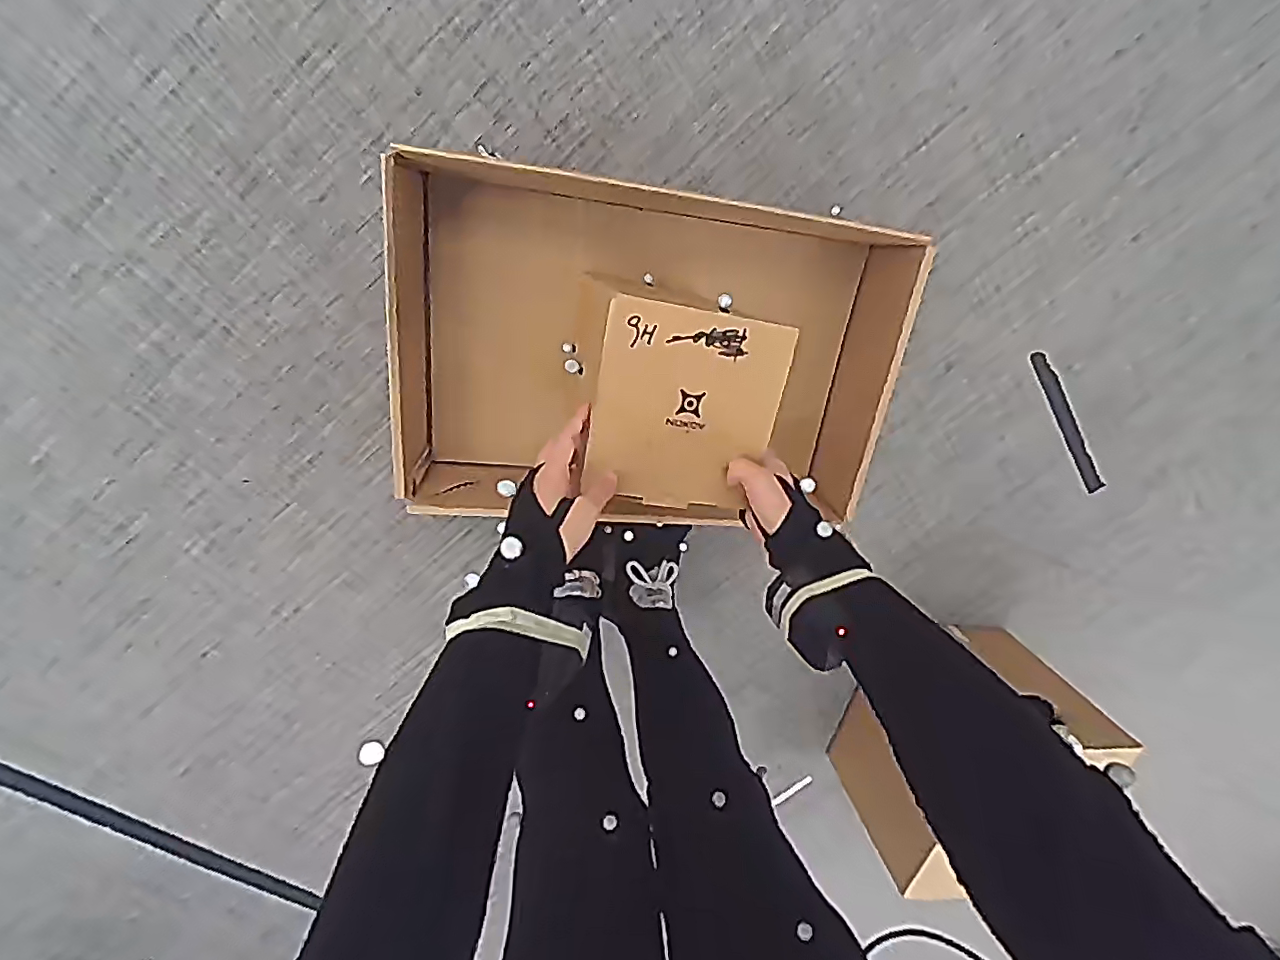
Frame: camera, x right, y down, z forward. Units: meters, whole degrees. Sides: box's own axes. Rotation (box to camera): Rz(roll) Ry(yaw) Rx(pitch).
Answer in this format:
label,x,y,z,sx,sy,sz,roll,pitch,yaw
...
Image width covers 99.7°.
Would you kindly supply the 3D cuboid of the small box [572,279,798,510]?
label,x,y,z,sx,sy,sz,roll,pitch,yaw
small box,0.026,-0.091,0.543,0.168,0.176,0.179,7,113,-15
